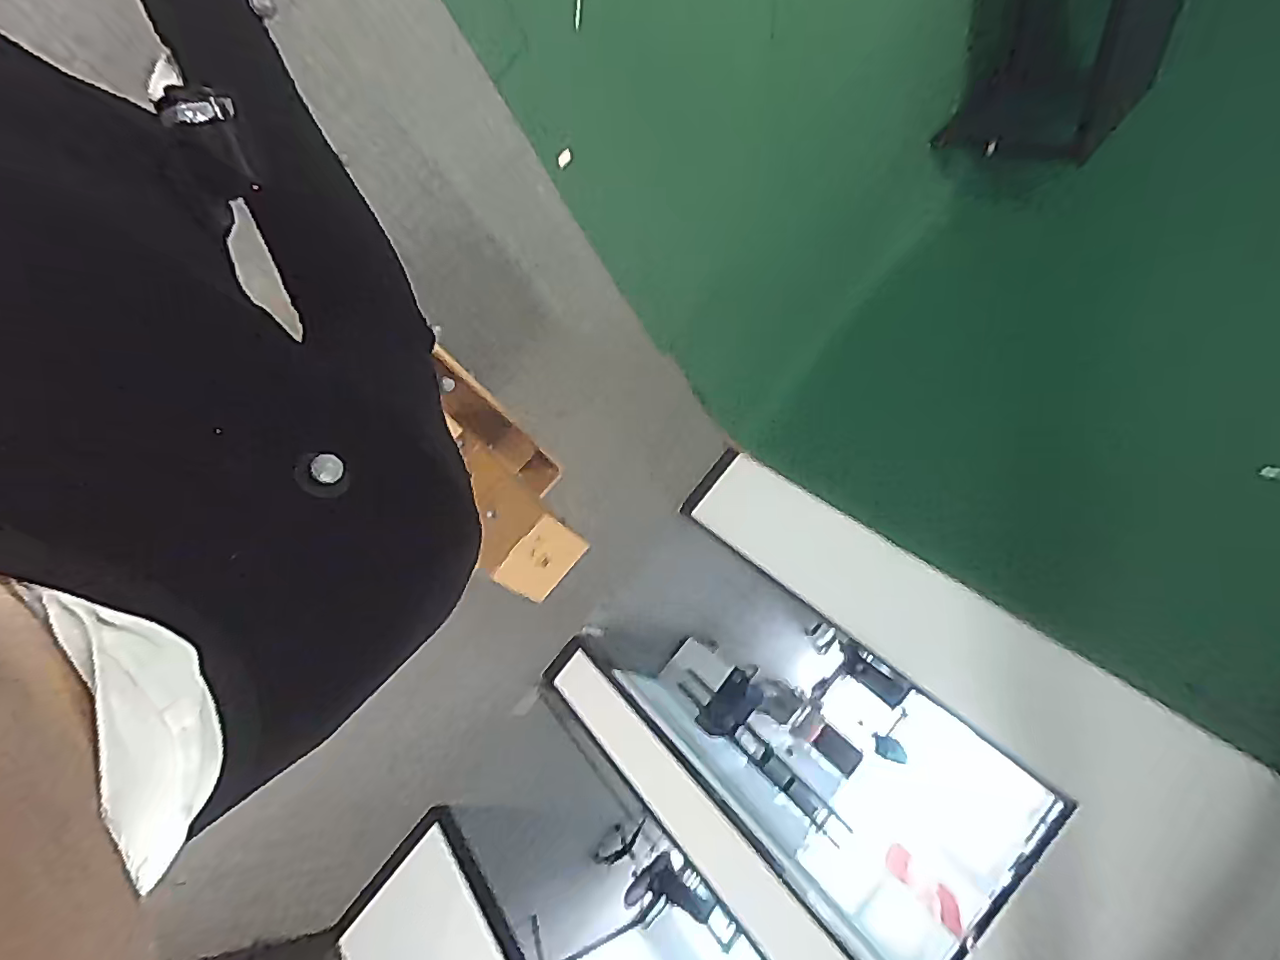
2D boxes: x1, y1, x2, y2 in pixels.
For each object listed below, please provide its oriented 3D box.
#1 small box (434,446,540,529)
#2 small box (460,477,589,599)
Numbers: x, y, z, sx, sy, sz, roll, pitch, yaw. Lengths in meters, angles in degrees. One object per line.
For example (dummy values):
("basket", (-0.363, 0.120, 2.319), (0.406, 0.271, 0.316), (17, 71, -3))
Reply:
("small box", (-0.345, 0.049, 1.276), (0.168, 0.176, 0.179), (-47, 141, -6))
("small box", (-0.249, 0.121, 1.163), (0.168, 0.176, 0.179), (-49, 141, -5))
